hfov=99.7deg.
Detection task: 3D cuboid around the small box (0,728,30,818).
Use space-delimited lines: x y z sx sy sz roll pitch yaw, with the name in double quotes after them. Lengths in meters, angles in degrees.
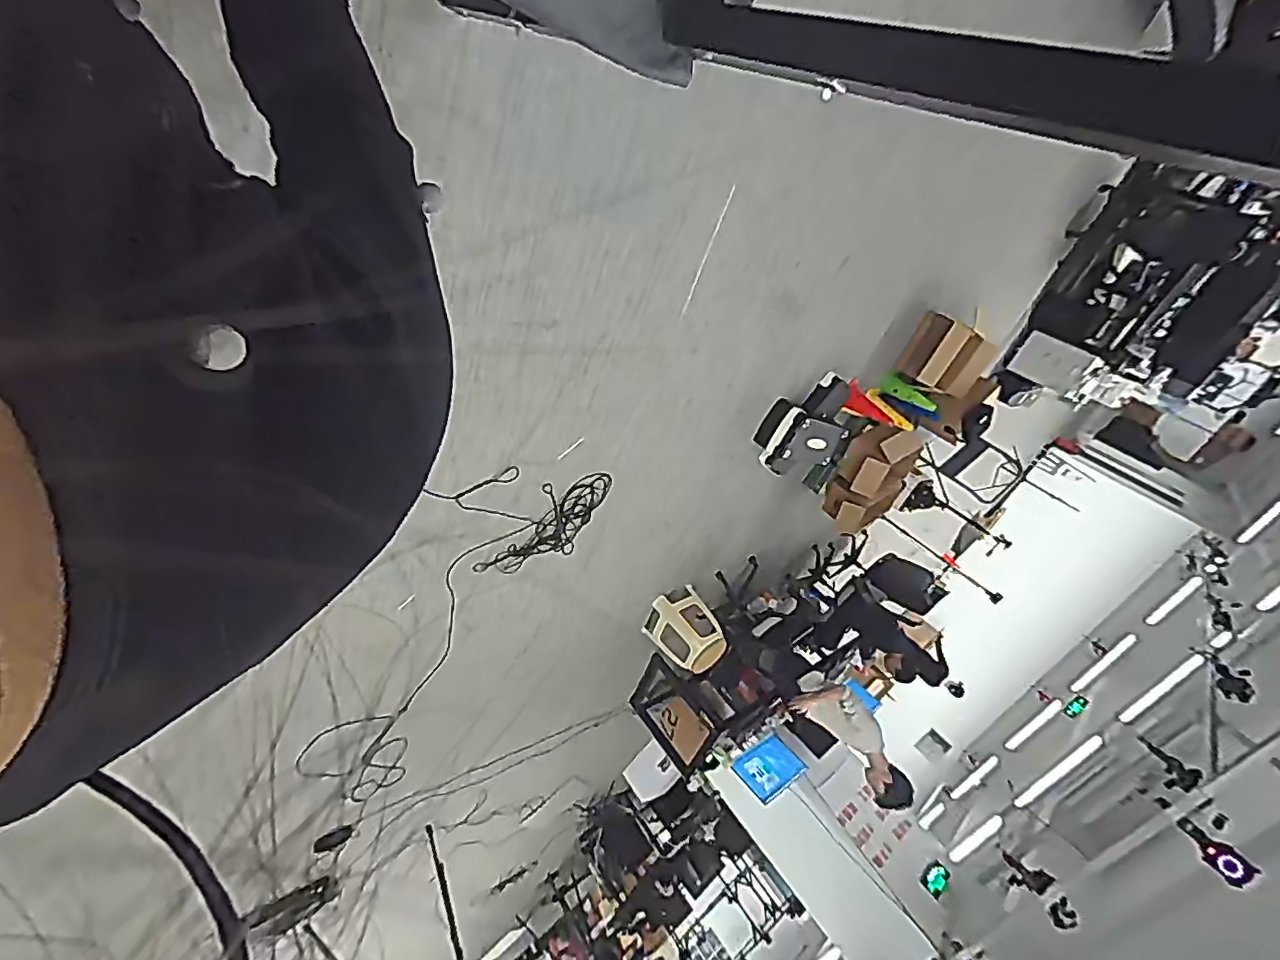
-1.715 0.770 1.386 0.168 0.176 0.179 -13 134 -38 "small box"
